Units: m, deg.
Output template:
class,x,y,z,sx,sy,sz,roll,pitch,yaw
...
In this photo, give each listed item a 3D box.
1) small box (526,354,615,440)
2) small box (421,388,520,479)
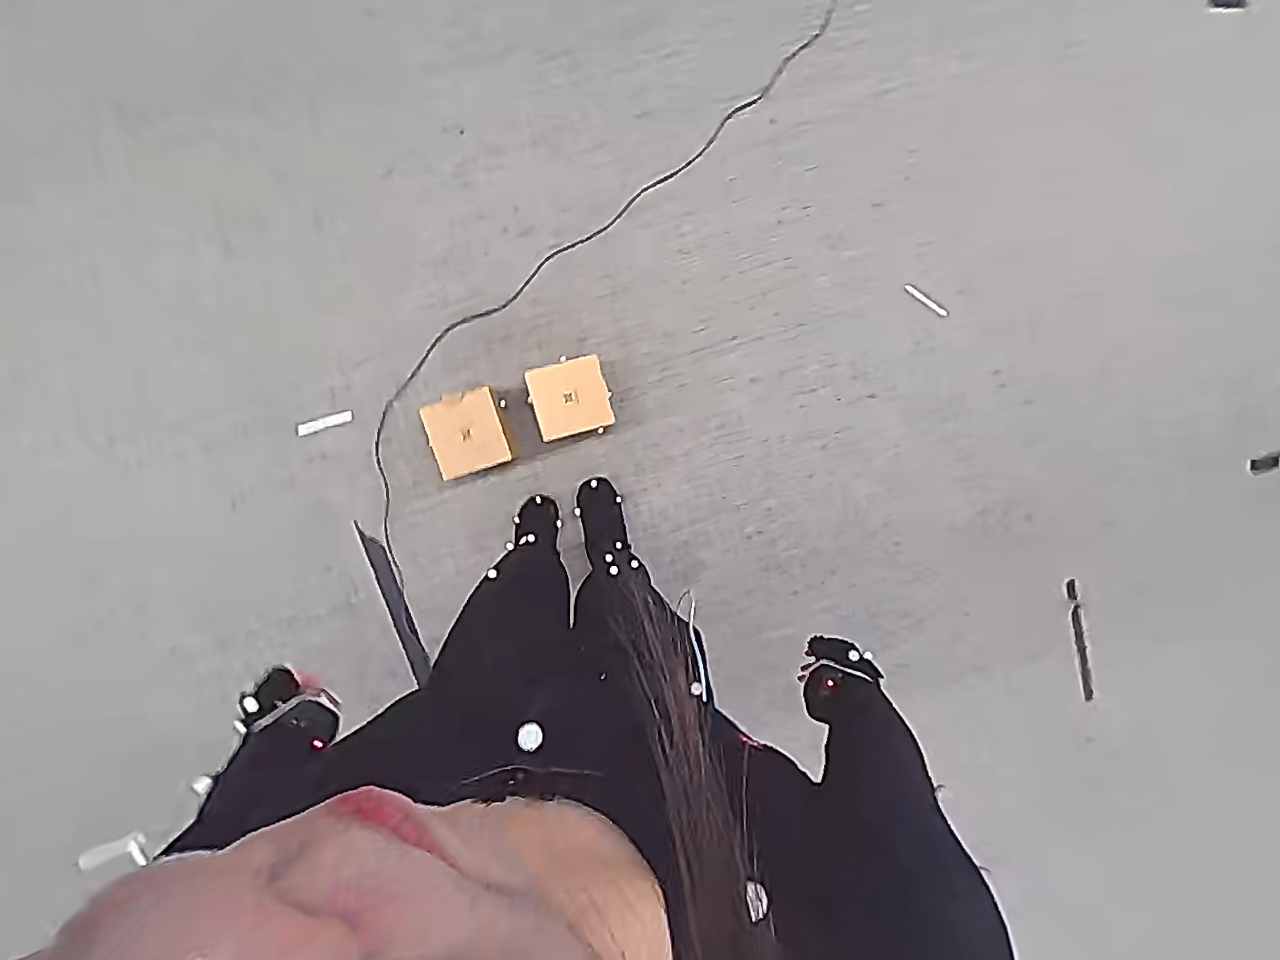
class,x,y,z,sx,sy,sz,roll,pitch,yaw
small box,-0.167,-0.199,1.331,0.179,0.176,0.168,-16,98,-4
small box,-0.403,-0.115,1.316,0.168,0.176,0.179,-18,99,-2
